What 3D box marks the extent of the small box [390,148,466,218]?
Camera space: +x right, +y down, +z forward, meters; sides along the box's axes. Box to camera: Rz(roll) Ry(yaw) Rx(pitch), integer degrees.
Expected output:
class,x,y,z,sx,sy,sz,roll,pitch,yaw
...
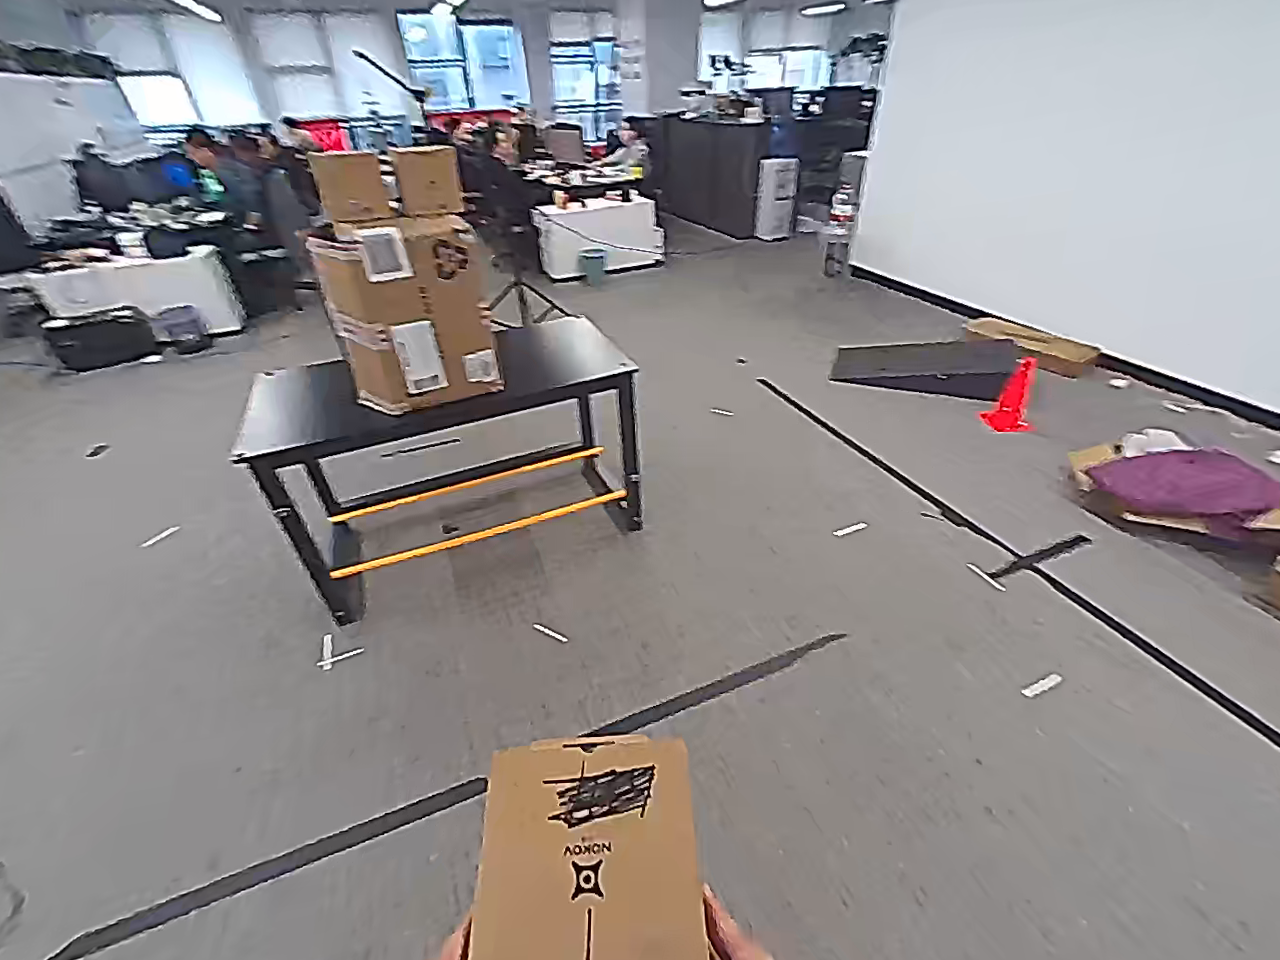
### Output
class,x,y,z,sx,sy,sz,roll,pitch,yaw
small box,-0.636,-0.895,1.631,0.168,0.176,0.179,-17,38,-23

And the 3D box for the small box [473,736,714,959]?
class,x,y,z,sx,sy,sz,roll,pitch,yaw
small box,-0.035,0.345,0.460,0.168,0.176,0.179,-4,44,-3

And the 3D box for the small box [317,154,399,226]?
class,x,y,z,sx,sy,sz,roll,pitch,yaw
small box,-0.817,-0.841,1.565,0.168,0.176,0.179,-19,37,-22
